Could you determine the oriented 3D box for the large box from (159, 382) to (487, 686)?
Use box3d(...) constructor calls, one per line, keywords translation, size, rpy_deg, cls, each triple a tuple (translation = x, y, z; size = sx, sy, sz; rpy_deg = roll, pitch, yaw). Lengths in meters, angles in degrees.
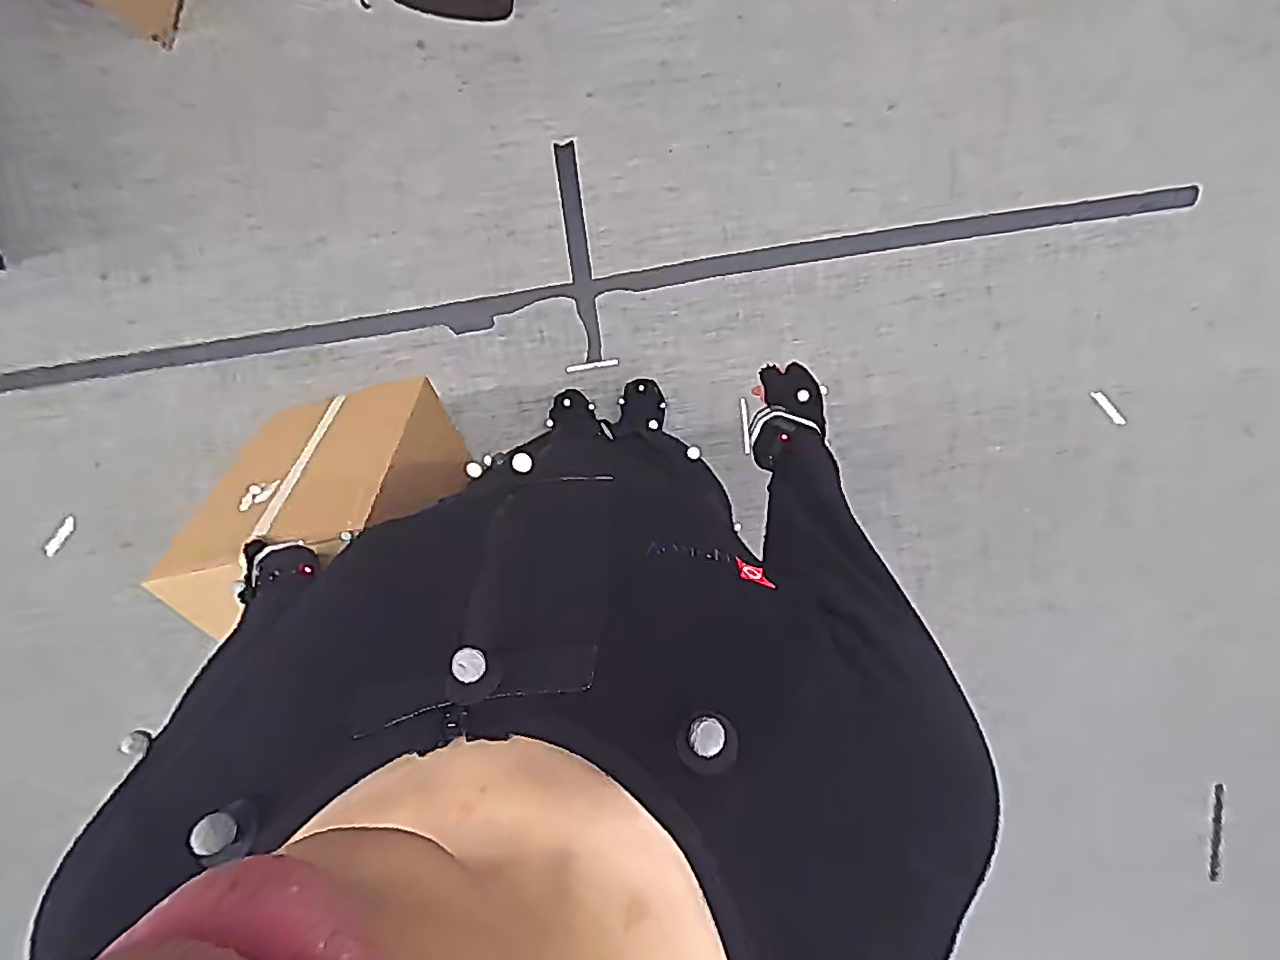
box3d(translation=(-0.491, 0.086, 0.961), size=(0.320, 0.408, 0.320), rpy_deg=(-13, 132, 5), cls="large box")
